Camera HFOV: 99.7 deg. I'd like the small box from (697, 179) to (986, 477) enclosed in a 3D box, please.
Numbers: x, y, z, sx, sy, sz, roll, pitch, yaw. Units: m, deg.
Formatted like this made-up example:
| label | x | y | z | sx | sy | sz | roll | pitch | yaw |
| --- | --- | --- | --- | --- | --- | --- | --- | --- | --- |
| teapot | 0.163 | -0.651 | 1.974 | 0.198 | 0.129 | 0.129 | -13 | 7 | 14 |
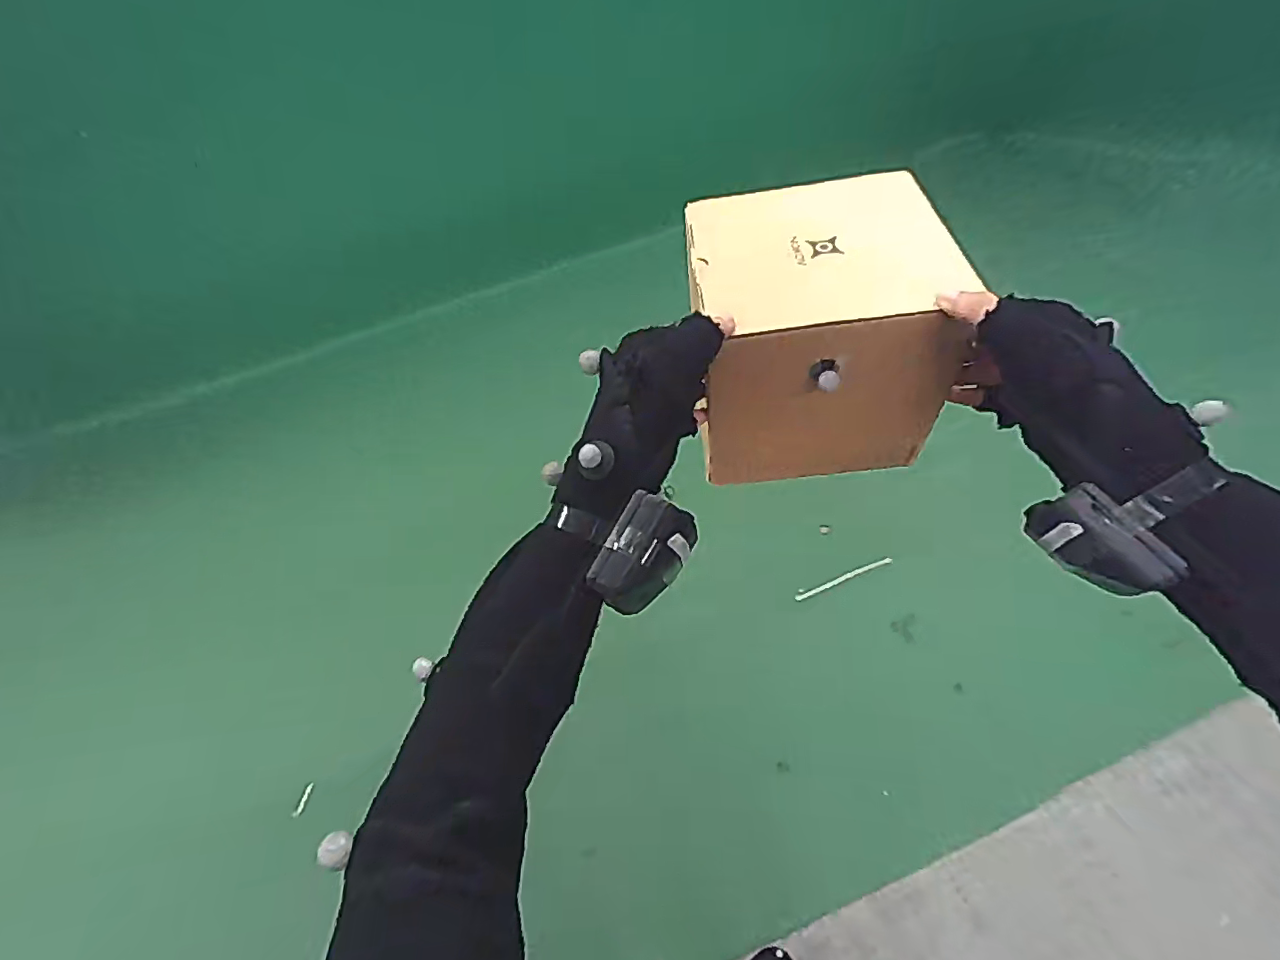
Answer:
| label | x | y | z | sx | sy | sz | roll | pitch | yaw |
| --- | --- | --- | --- | --- | --- | --- | --- | --- | --- |
| small box | 0.143 | -0.119 | 0.459 | 0.179 | 0.176 | 0.168 | -6 | 54 | 5 |
